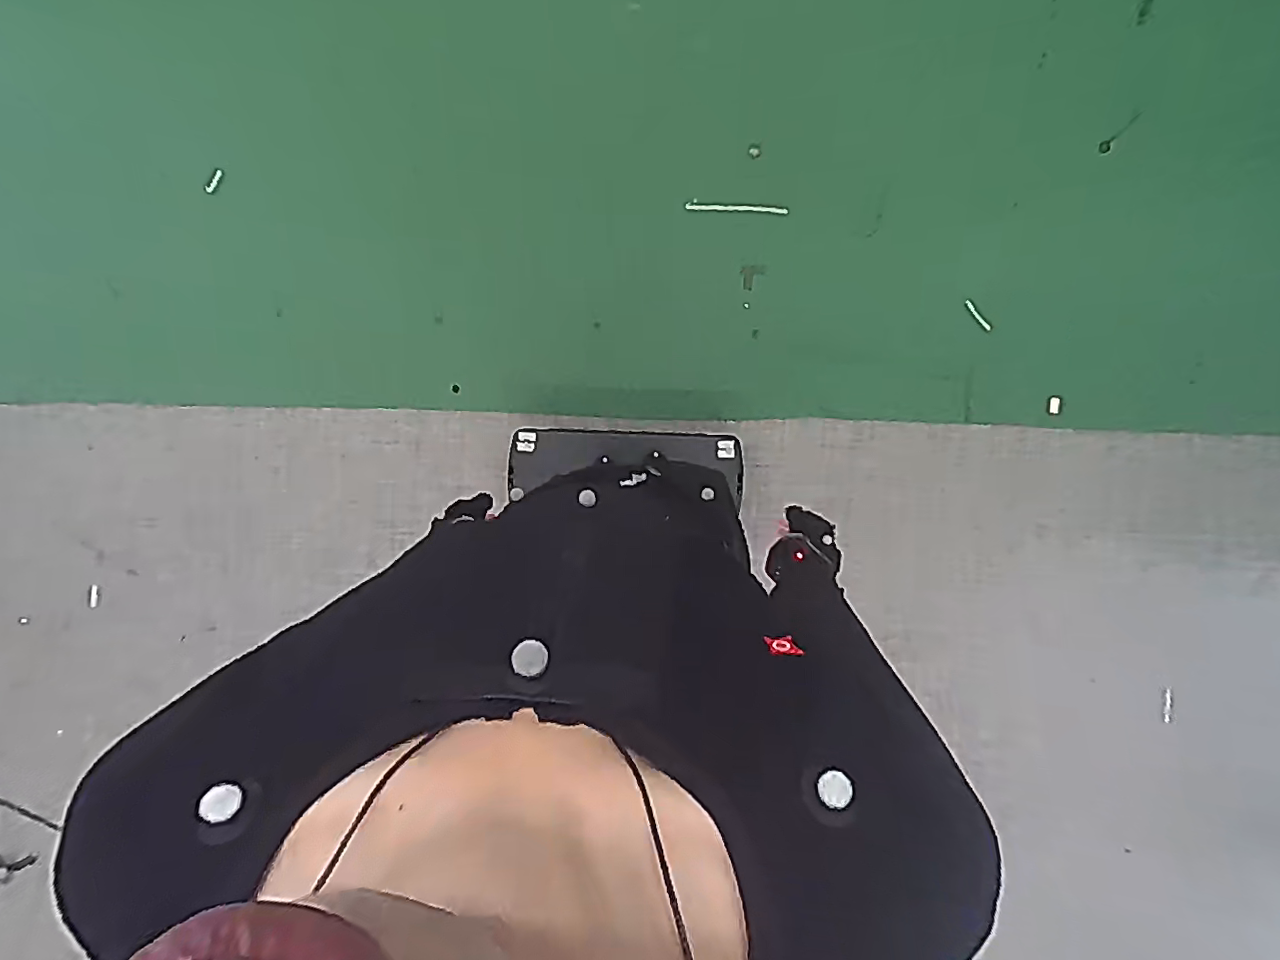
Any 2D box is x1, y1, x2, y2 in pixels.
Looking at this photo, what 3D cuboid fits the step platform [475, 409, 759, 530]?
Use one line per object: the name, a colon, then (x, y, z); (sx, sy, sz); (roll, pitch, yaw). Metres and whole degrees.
step platform: (-0.055, -0.028, 1.390); (0.684, 0.204, 0.286); (1, 93, 0)
